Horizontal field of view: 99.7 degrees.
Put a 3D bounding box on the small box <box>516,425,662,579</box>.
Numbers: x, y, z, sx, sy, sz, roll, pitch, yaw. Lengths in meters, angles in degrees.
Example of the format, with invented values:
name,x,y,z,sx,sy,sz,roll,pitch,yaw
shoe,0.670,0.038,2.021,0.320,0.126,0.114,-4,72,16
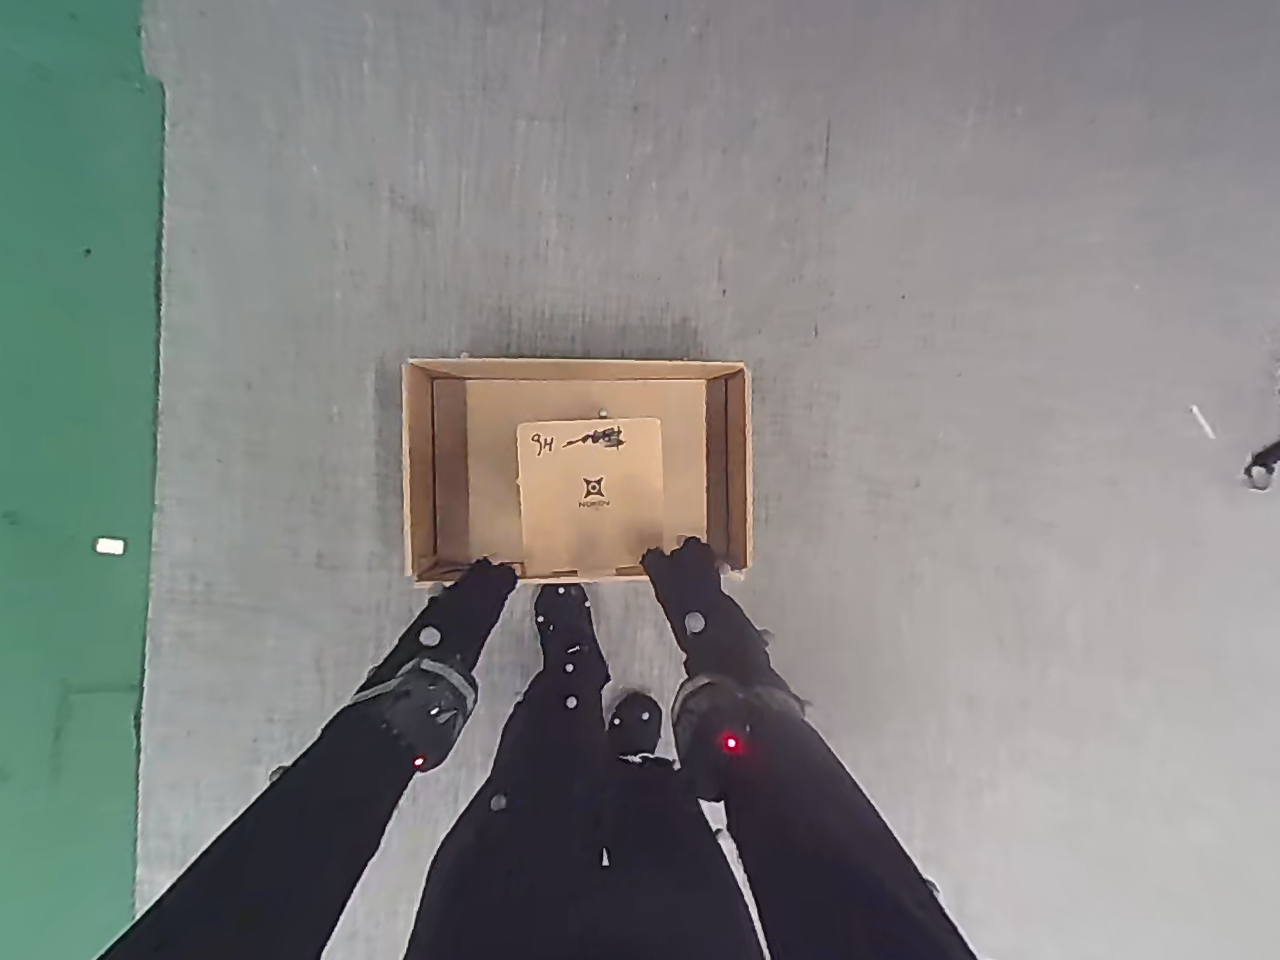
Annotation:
name,x,y,z,sx,sy,sz,roll,pitch,yaw
small box,-0.065,0.024,0.722,0.168,0.176,0.179,-5,91,-5
